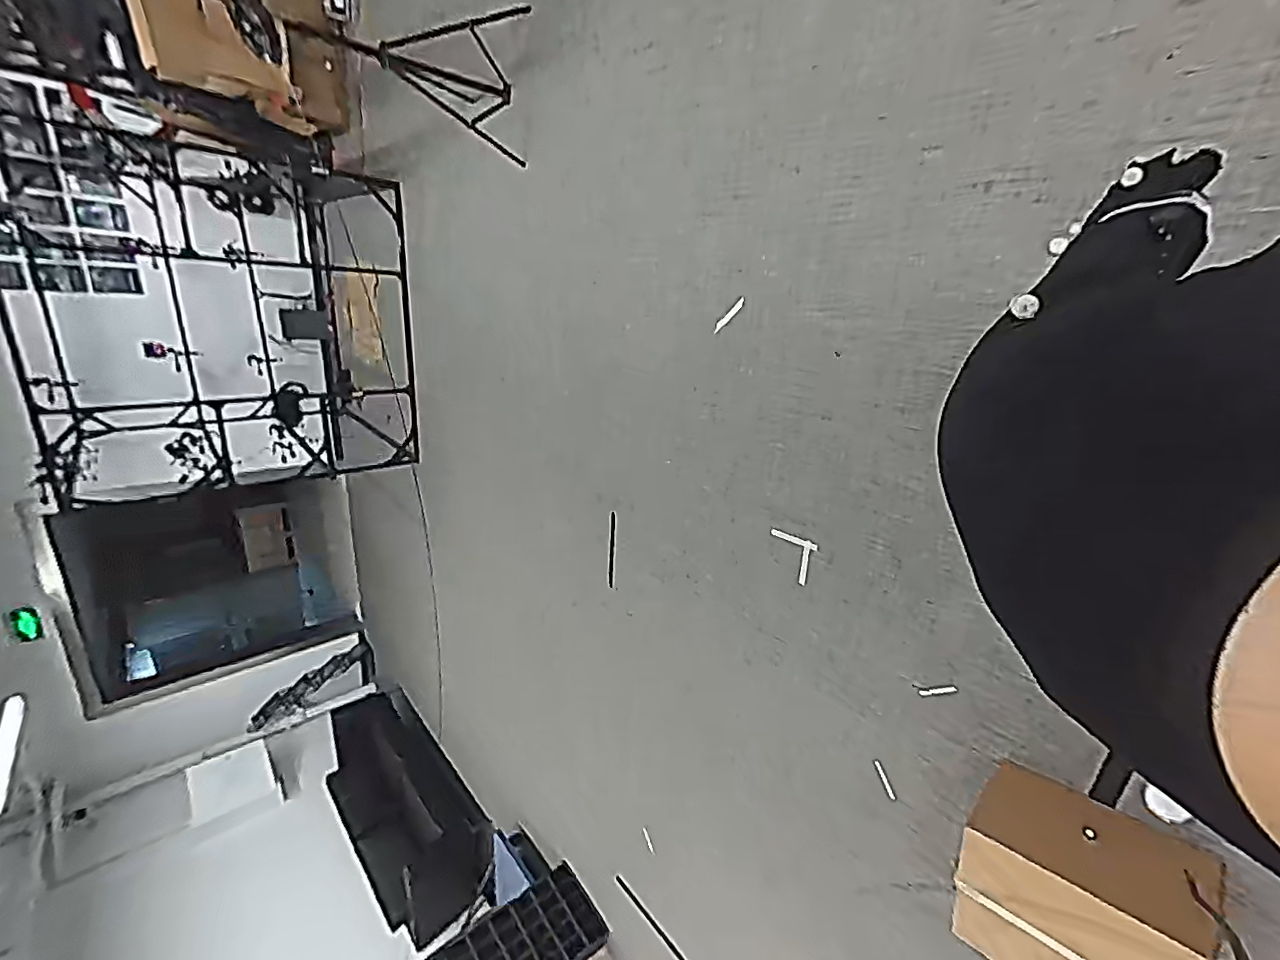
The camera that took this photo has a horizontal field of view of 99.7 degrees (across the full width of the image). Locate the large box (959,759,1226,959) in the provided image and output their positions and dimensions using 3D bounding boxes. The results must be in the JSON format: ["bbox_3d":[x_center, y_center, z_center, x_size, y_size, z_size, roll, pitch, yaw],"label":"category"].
[{"bbox_3d":[0.998,0.922,1.217,0.408,0.320,0.320,12,108,46],"label":"large box"}]
